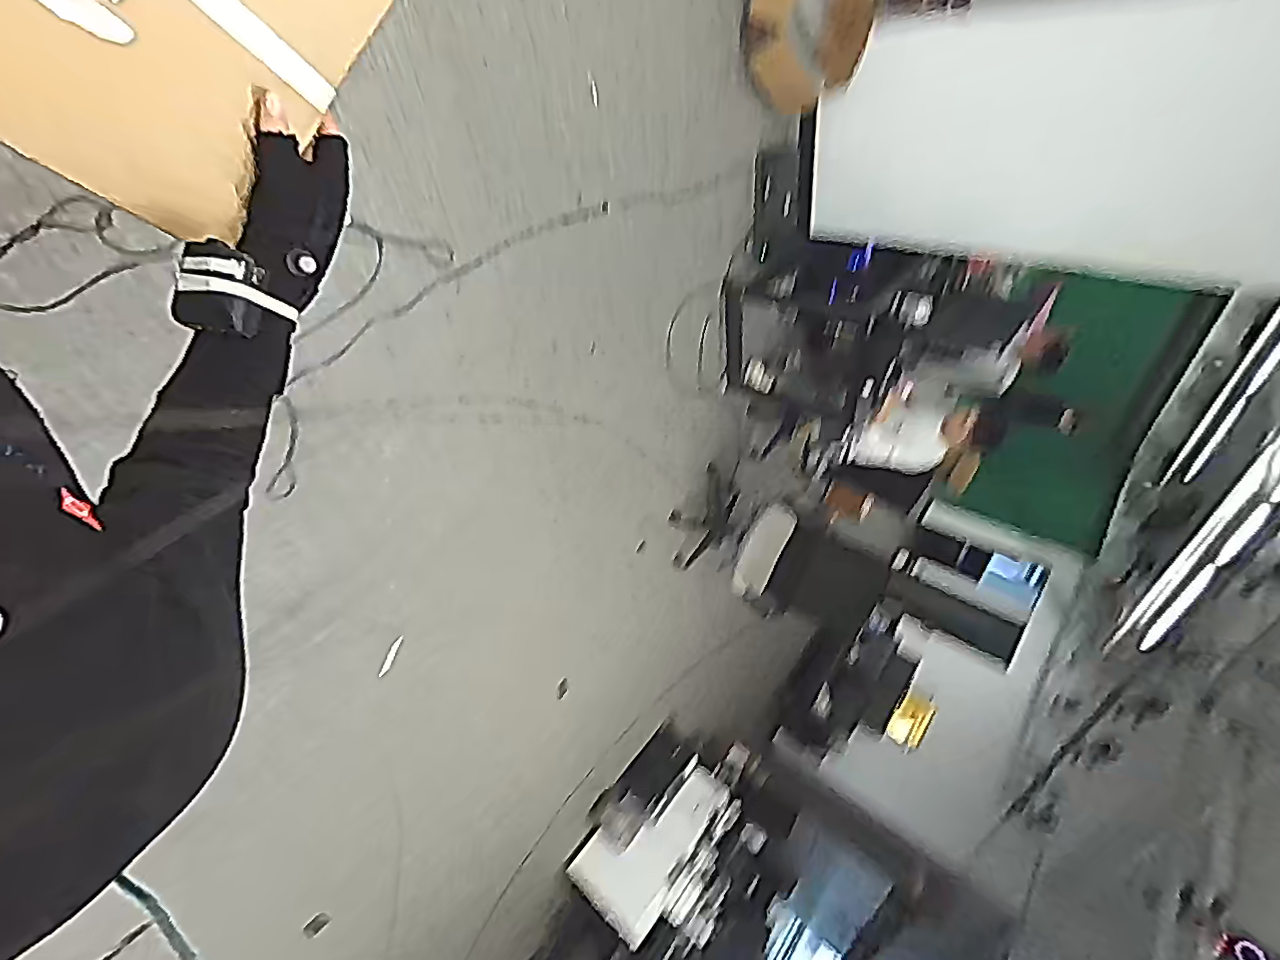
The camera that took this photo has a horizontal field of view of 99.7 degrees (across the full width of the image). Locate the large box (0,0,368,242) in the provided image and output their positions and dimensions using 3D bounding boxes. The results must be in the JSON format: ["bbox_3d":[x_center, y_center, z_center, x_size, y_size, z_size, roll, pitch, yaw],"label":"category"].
[{"bbox_3d":[-0.454,-0.441,0.343,0.320,0.320,0.408,-54,149,5],"label":"large box"}]
